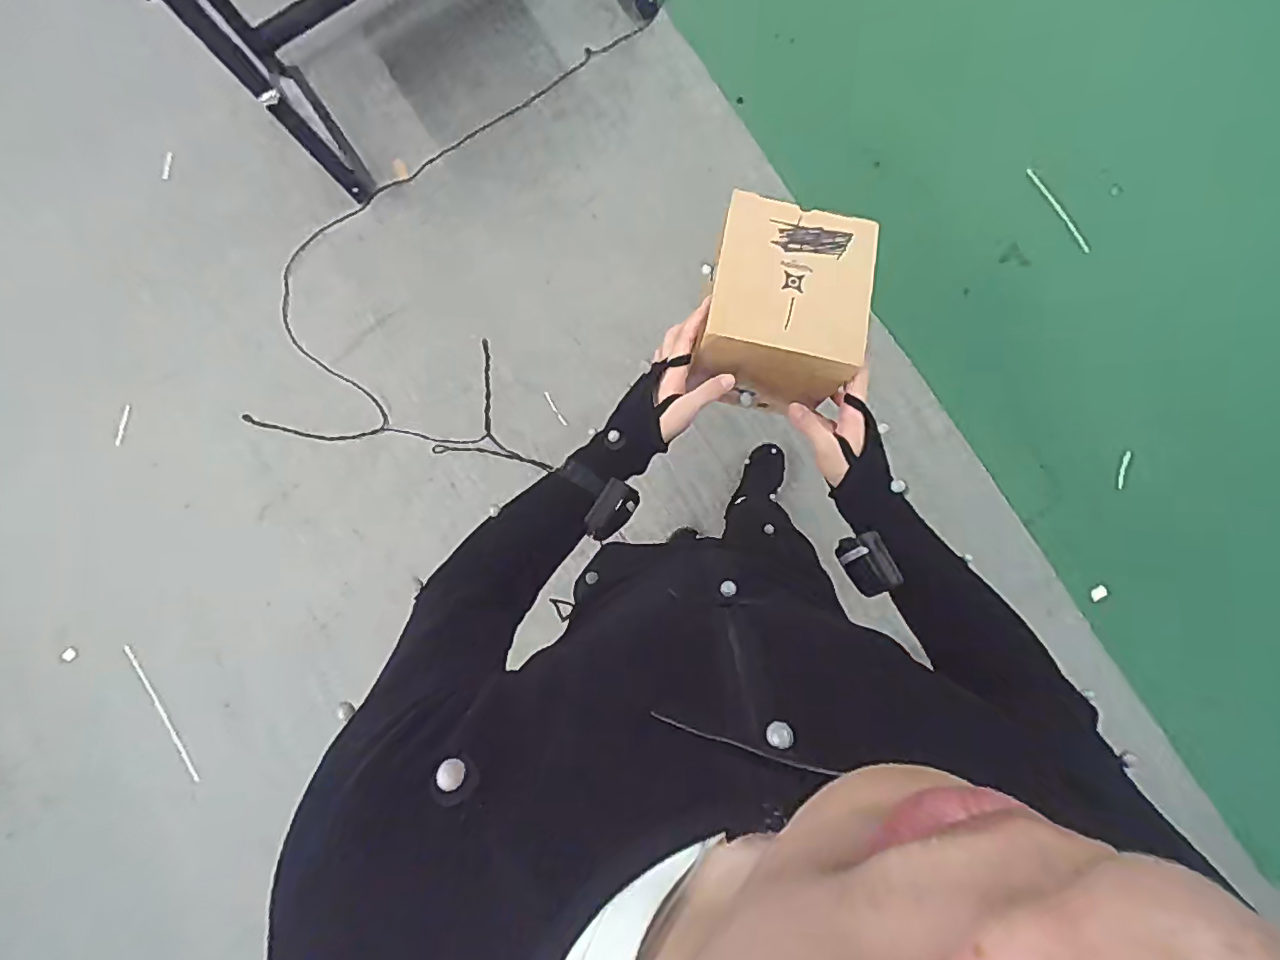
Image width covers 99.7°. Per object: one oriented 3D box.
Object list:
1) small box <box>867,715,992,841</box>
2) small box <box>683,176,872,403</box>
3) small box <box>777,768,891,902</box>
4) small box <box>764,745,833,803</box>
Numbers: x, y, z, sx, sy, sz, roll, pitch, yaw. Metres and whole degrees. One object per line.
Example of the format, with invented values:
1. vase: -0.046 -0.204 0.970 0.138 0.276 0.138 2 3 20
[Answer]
1. small box: 0.678 0.699 1.288 0.168 0.176 0.179 -27 86 0
2. small box: 0.153 -0.213 0.645 0.168 0.176 0.179 11 78 -2
3. small box: 0.454 0.835 1.291 0.168 0.176 0.179 -29 85 -2
4. small box: 0.456 0.845 1.454 0.168 0.176 0.179 -32 85 0
